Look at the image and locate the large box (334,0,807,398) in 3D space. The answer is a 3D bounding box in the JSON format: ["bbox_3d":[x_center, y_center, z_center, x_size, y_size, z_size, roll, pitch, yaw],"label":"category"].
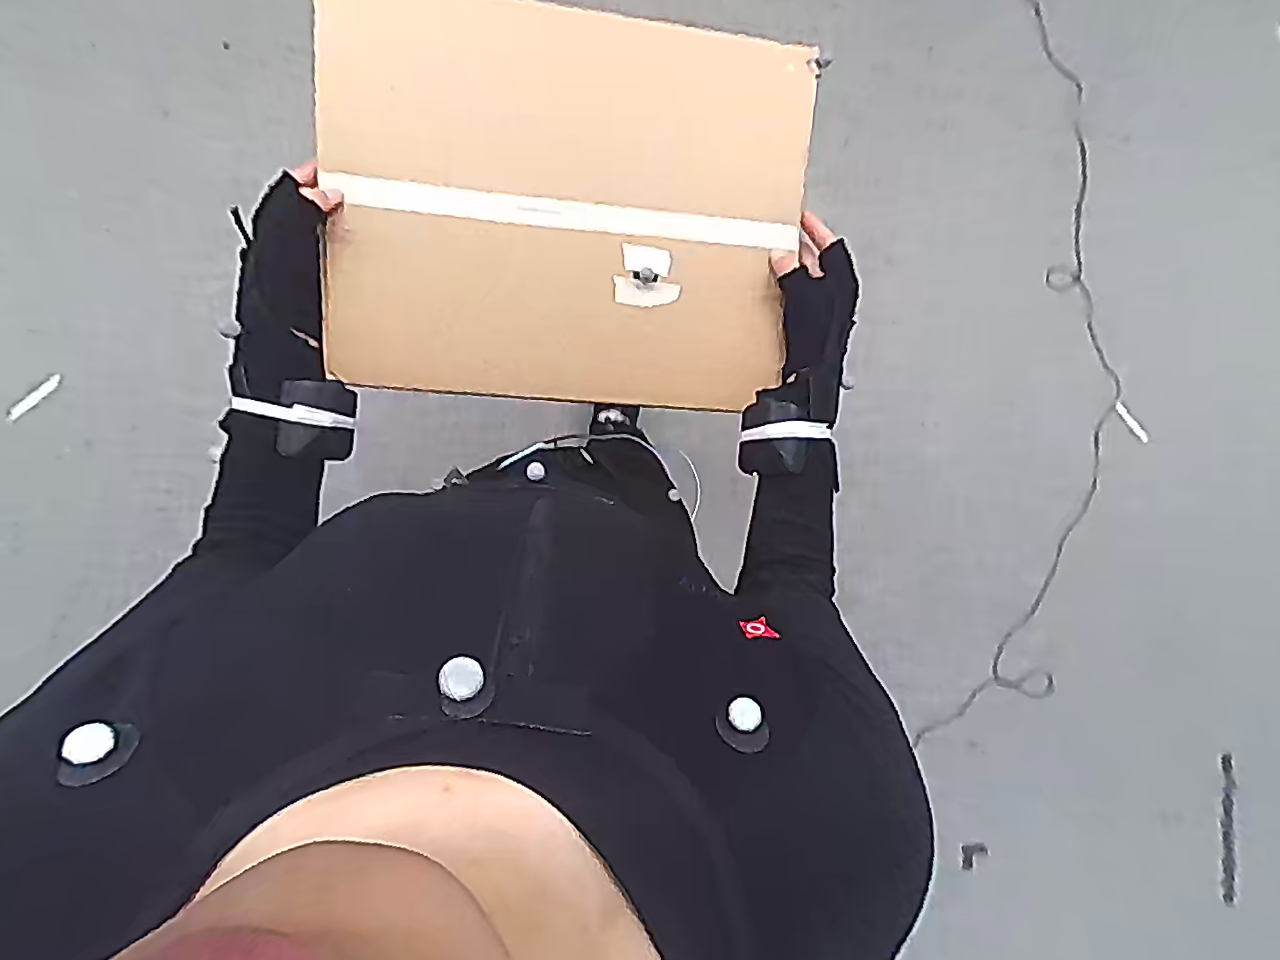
[{"bbox_3d":[-0.075,-0.262,0.623,0.408,0.320,0.320,2,101,-8],"label":"large box"}]
